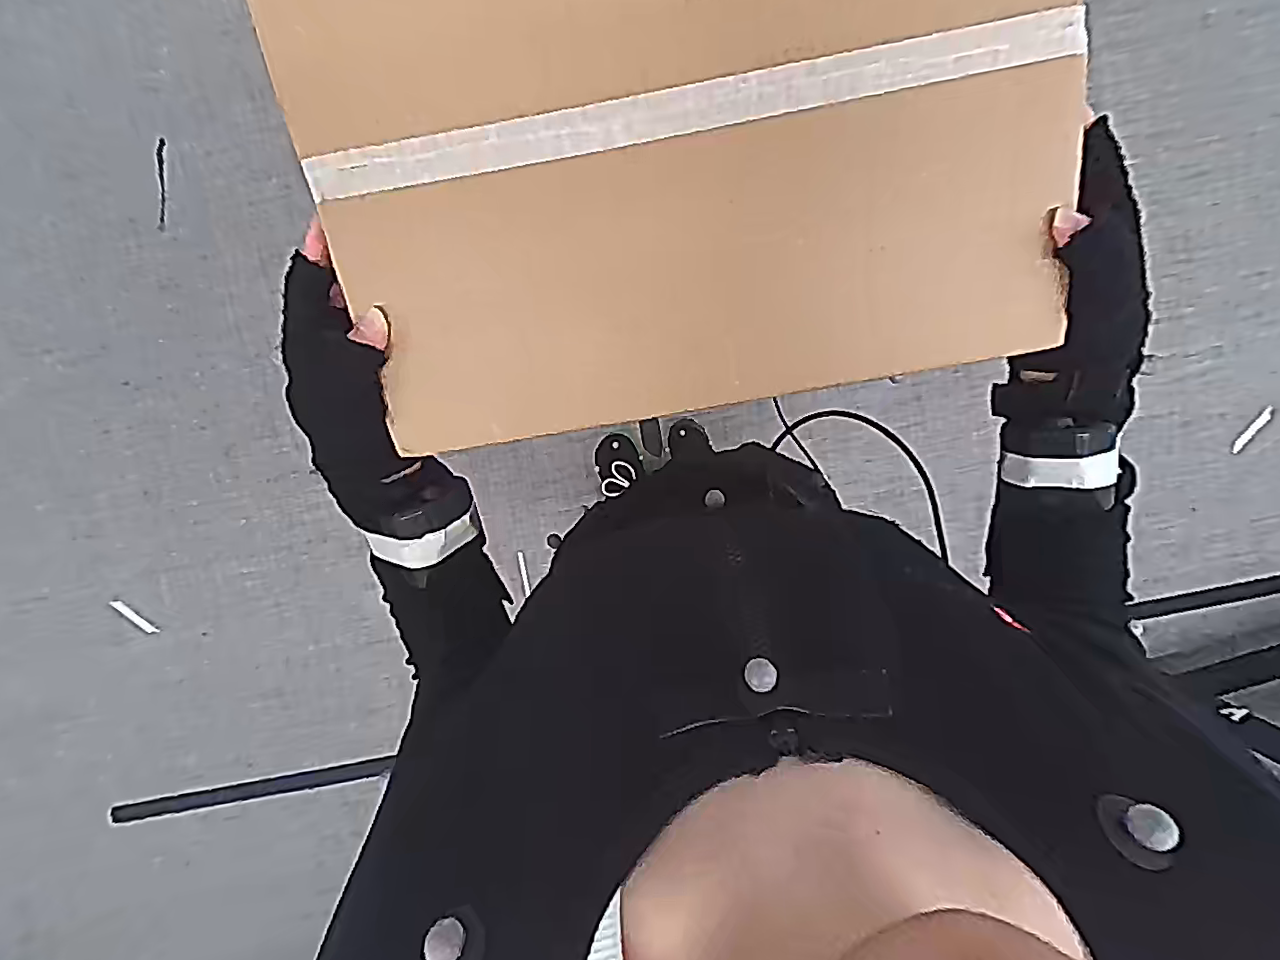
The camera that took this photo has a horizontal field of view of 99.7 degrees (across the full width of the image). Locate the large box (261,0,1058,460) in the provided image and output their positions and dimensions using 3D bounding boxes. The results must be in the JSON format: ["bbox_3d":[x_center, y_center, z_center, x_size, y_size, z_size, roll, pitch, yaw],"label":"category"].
[{"bbox_3d":[0.020,-0.237,0.432,0.408,0.320,0.320,-10,108,2],"label":"large box"}]
